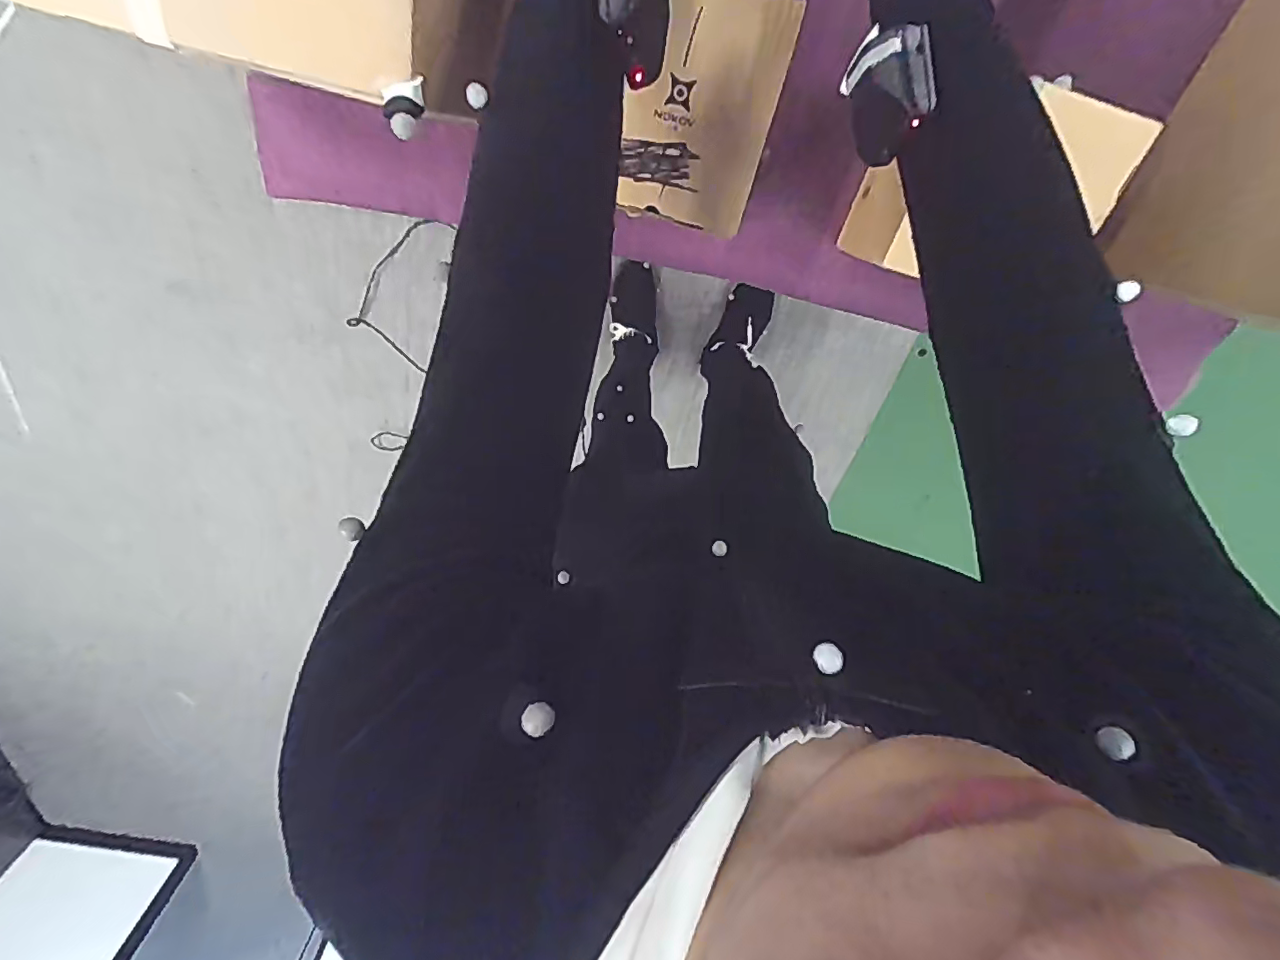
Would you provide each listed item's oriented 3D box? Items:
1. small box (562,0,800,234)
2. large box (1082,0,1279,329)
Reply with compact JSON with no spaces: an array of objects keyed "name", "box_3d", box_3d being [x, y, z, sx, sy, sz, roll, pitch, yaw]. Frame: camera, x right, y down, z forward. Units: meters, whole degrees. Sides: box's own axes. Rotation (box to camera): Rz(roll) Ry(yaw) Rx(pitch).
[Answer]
[{"name":"small box","box_3d":[0.030,-0.356,0.520,0.168,0.176,0.179,12,119,-6]},{"name":"large box","box_3d":[0.709,-0.312,0.435,0.320,0.320,0.408,14,122,-4]}]
